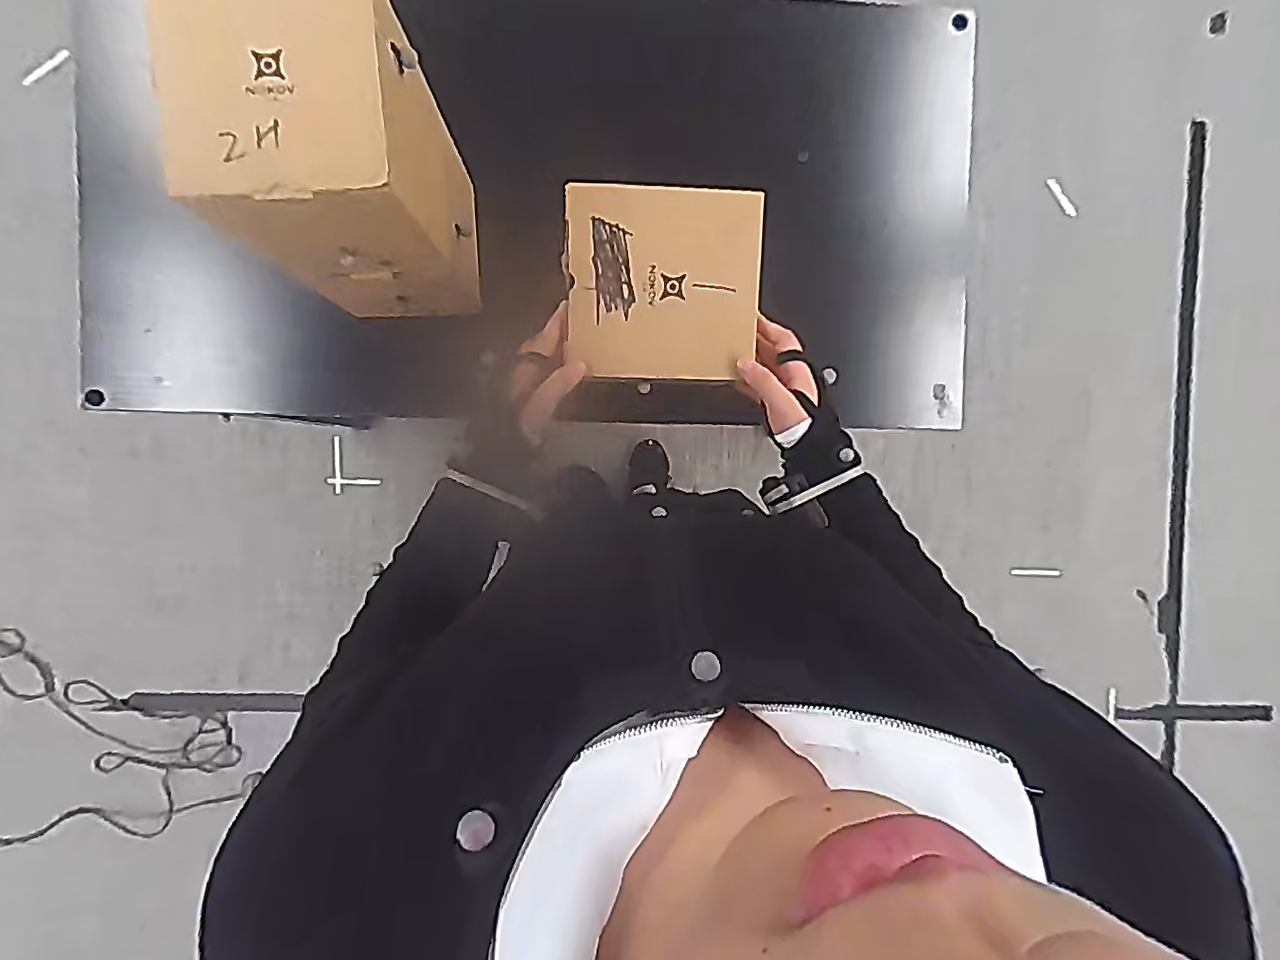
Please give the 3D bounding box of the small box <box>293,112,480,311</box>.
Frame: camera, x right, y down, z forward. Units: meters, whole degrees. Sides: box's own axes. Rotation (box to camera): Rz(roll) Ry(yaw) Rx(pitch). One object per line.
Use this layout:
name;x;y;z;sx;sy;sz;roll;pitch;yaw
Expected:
small box;-0.297;-0.310;0.658;0.168;0.176;0.179;-3;92;-4

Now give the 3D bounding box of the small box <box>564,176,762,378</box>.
small box;0.016;-0.195;0.564;0.179;0.176;0.168;1;99;-4

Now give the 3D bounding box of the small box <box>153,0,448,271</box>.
small box;-0.284;-0.310;0.492;0.168;0.176;0.179;-5;92;-3
